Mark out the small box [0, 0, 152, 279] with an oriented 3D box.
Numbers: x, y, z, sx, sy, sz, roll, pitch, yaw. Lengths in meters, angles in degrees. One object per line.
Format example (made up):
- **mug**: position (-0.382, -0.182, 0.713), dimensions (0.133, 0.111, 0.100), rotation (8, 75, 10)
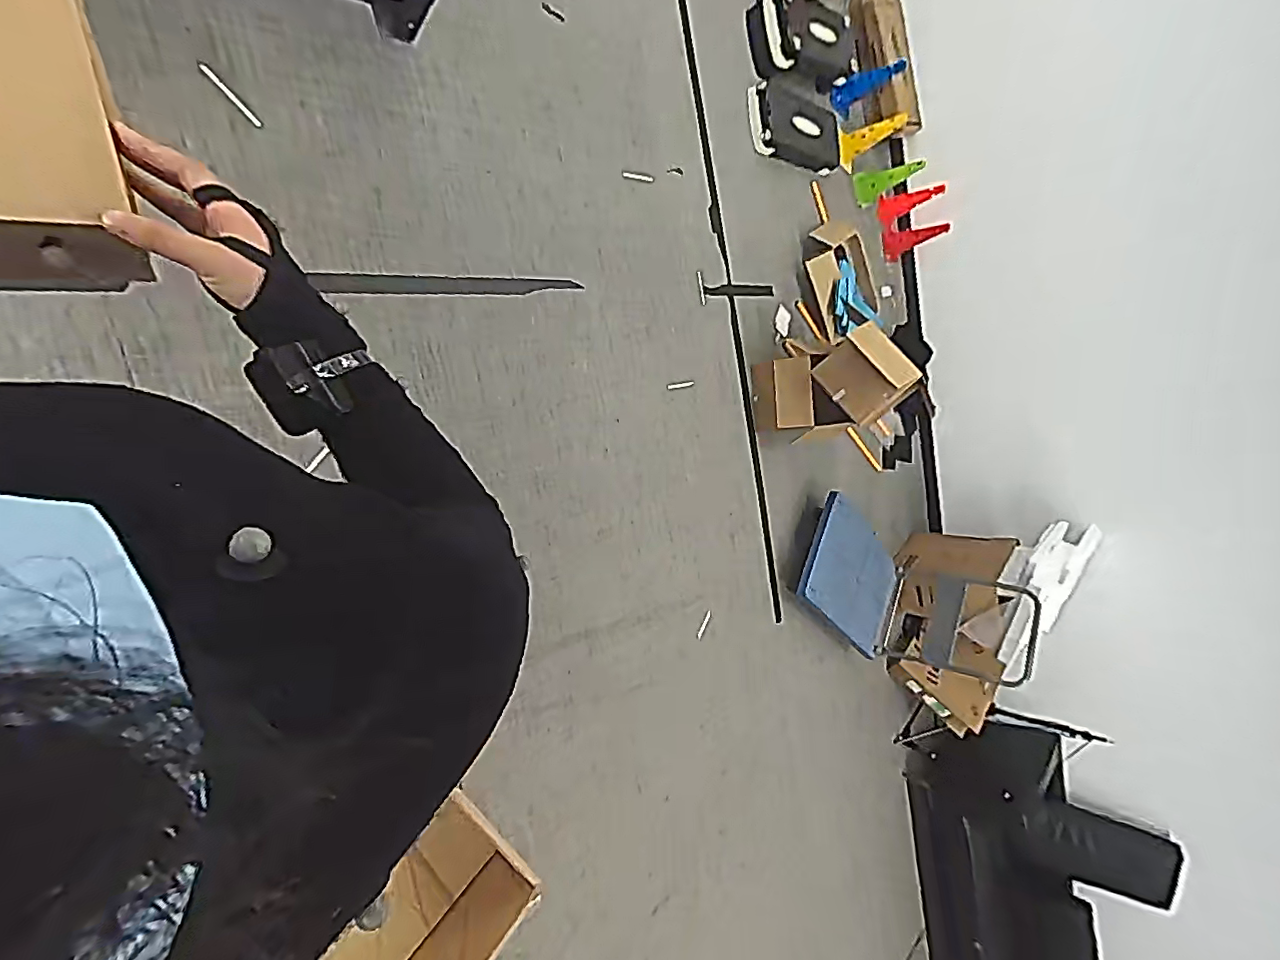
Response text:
- **small box**: position (-0.456, -0.237, 0.358), dimensions (0.179, 0.176, 0.168), rotation (-14, 102, -36)
